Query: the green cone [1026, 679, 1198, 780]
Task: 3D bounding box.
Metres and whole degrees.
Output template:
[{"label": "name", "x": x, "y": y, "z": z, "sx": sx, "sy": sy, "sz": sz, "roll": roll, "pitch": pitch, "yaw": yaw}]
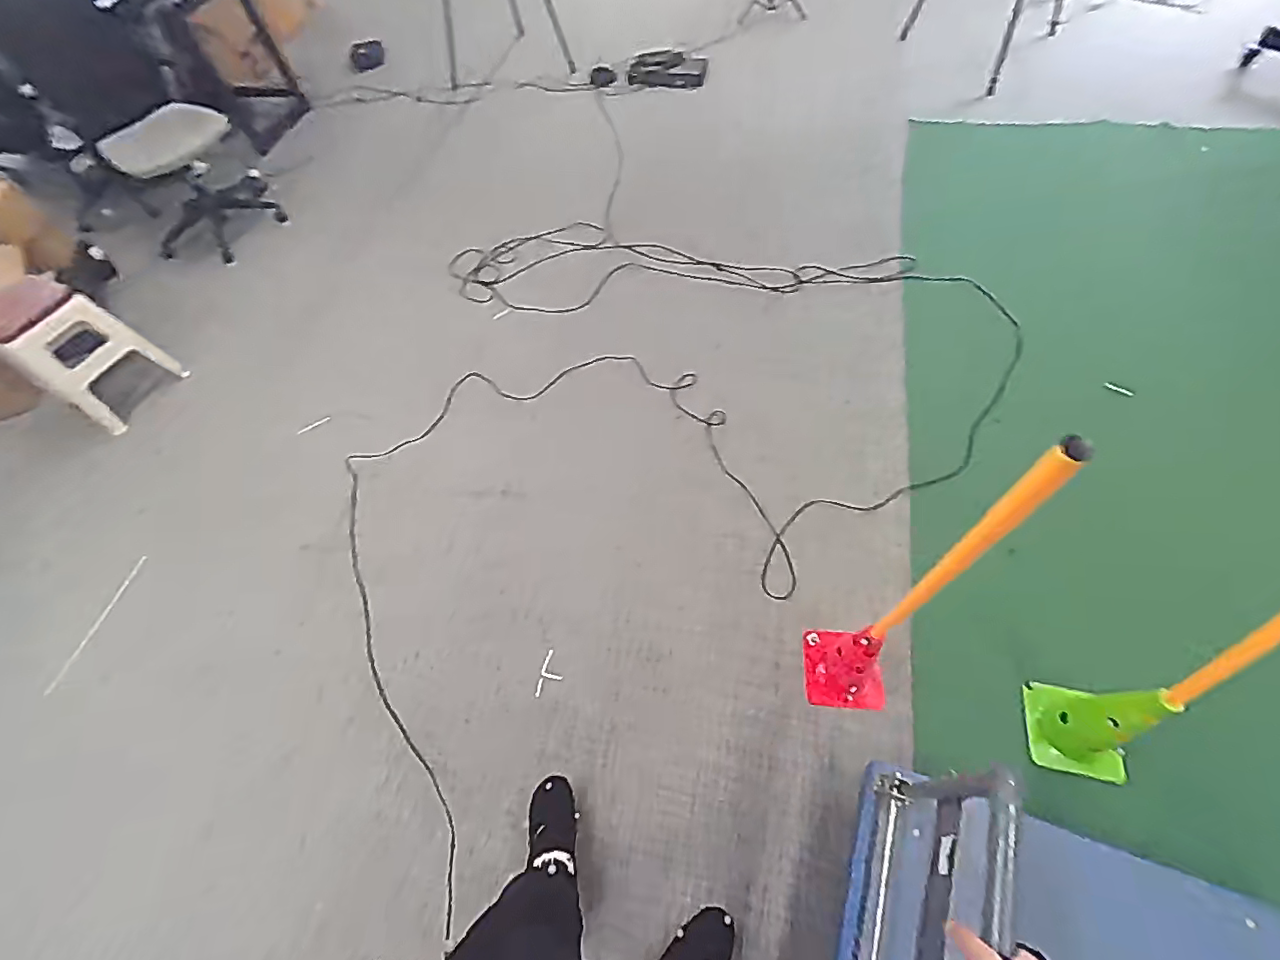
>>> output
[{"label": "green cone", "x": 1.051, "y": 0.516, "z": 1.180, "sx": 0.202, "sy": 0.368, "sz": 0.200, "roll": 9, "pitch": 59, "yaw": 11}]
